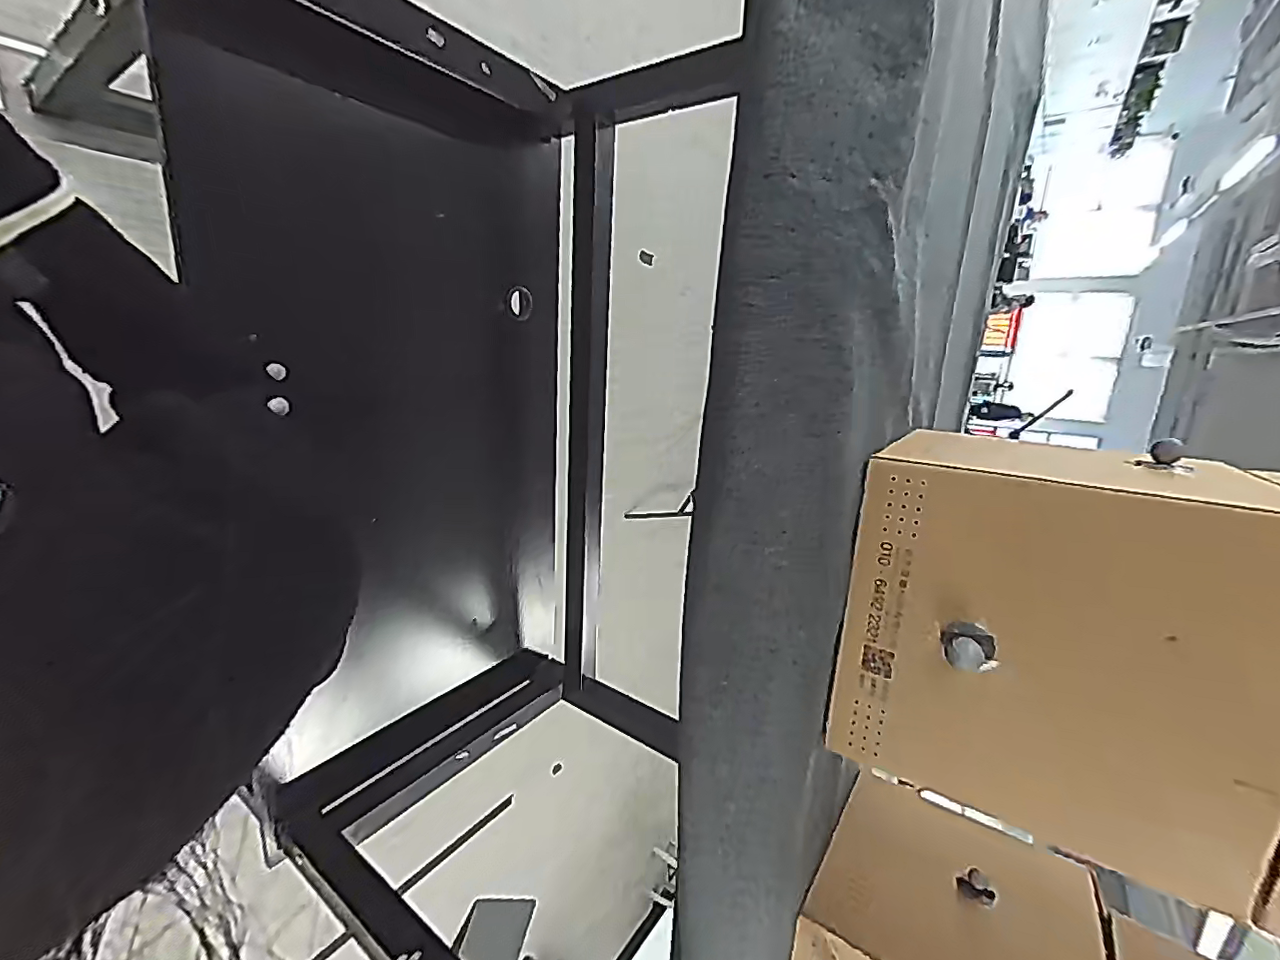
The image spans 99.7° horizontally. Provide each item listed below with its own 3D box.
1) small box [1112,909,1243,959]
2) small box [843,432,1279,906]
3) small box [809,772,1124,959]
[{"bbox_3d":[0.333,0.389,0.273,0.179,0.176,0.168,-21,118,-53],"label":"small box"},{"bbox_3d":[0.230,0.067,0.310,0.179,0.176,0.168,-16,113,-55],"label":"small box"},{"bbox_3d":[0.218,0.356,0.387,0.179,0.176,0.168,-11,109,-56],"label":"small box"}]
